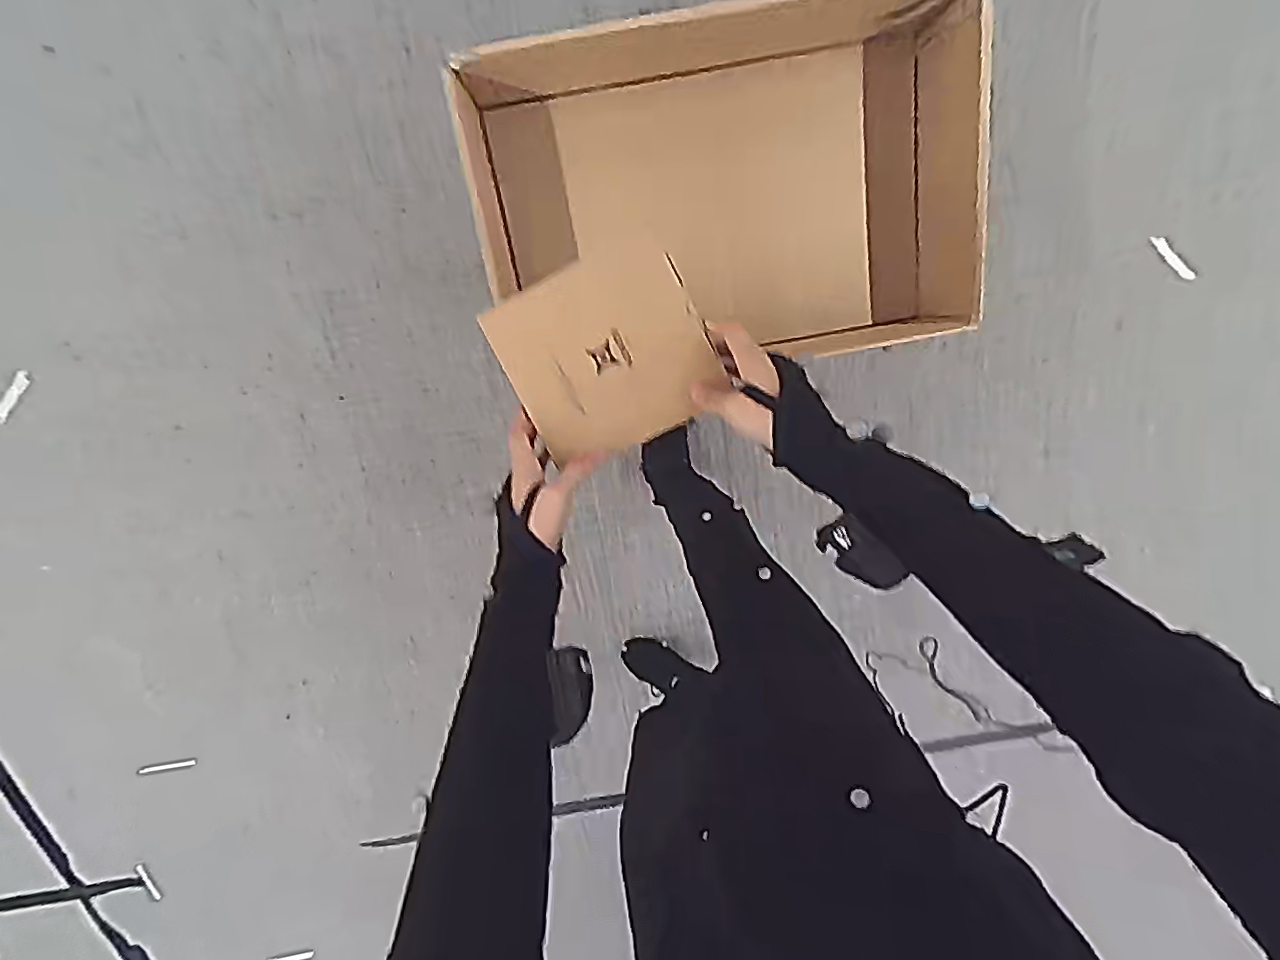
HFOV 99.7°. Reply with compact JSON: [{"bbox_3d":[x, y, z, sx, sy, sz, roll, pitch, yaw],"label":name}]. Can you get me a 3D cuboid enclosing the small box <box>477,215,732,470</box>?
[{"bbox_3d":[-0.030,-0.126,0.548,0.179,0.176,0.168,-27,94,4],"label":"small box"}]
